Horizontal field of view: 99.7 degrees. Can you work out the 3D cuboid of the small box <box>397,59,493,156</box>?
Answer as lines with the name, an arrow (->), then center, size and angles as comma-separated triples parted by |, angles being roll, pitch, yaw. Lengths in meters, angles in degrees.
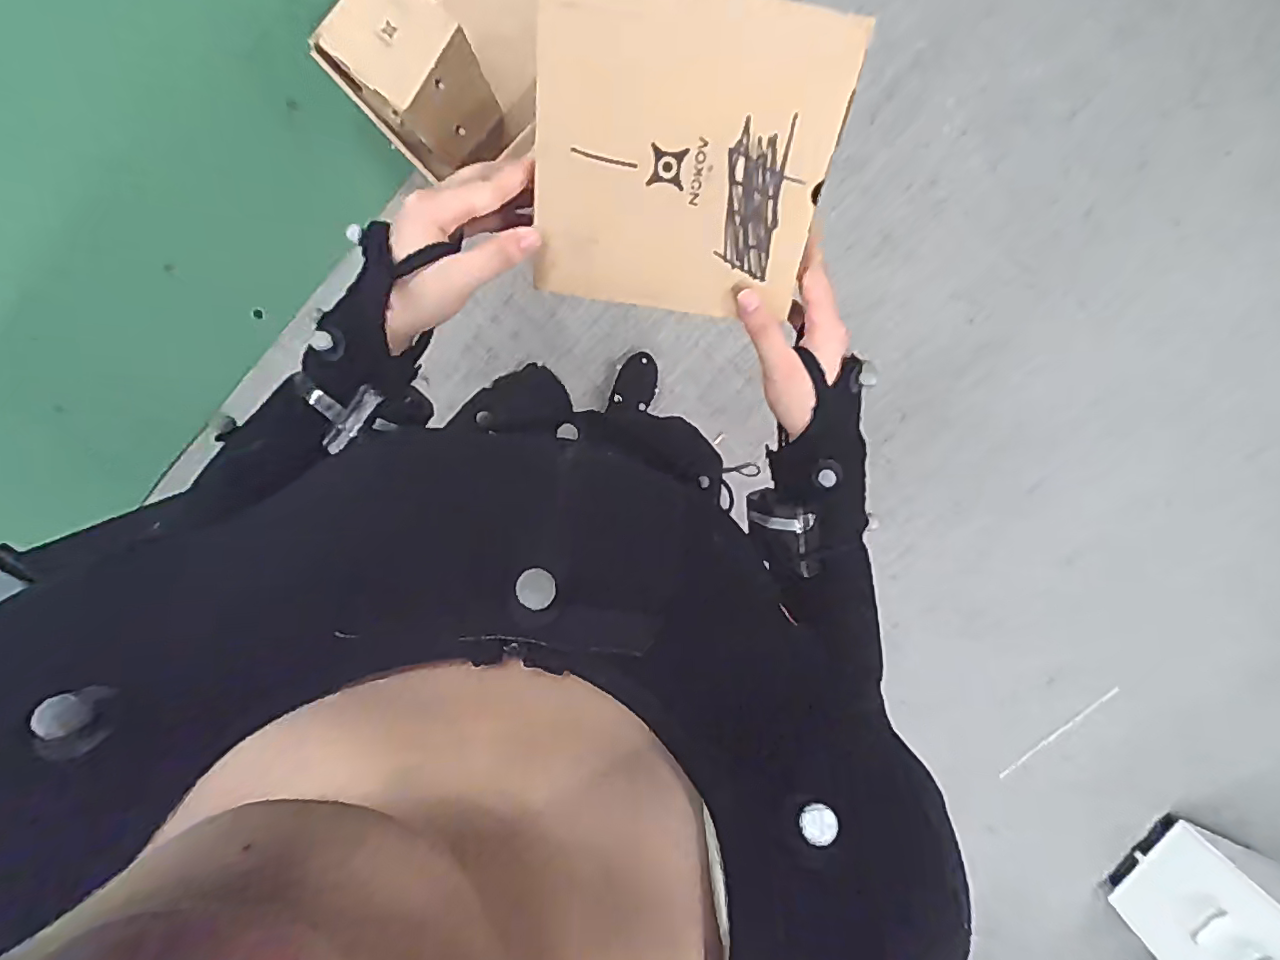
small box -> -0.428, -0.812, 1.110 | 0.179, 0.176, 0.168 | -41, 105, 9

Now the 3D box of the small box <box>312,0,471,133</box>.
small box -> -0.423, -0.762, 0.954 | 0.168, 0.176, 0.179 | 36, 99, -14
